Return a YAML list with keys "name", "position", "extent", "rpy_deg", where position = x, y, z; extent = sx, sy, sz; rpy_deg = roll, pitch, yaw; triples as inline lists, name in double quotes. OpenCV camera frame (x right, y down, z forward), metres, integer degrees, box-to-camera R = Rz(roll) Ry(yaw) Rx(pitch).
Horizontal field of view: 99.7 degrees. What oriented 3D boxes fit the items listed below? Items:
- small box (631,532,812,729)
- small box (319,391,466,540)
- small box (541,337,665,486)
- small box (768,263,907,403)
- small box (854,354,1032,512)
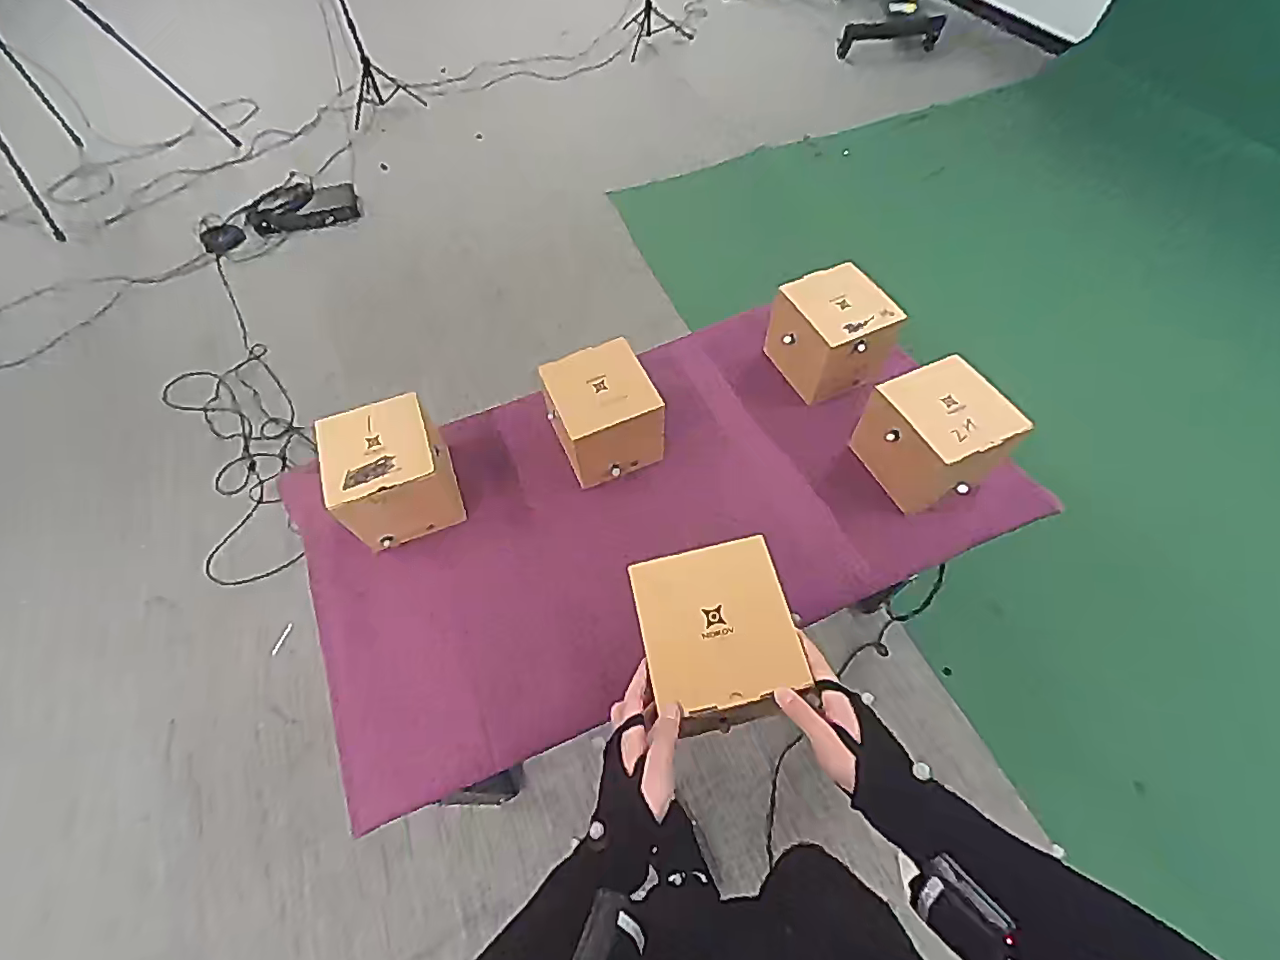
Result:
- name: "small box"
  position: [0.089, 0.190, 0.666]
  extent: [0.168, 0.176, 0.179]
  rpy_deg: [-13, 60, -1]
- name: "small box"
  position: [-0.413, -0.015, 0.921]
  extent: [0.168, 0.176, 0.179]
  rpy_deg: [-20, 61, -10]
- name: "small box"
  position: [-0.064, -0.119, 0.976]
  extent: [0.168, 0.176, 0.179]
  rpy_deg: [-22, 61, -10]
- name: "small box"
  position: [0.371, -0.284, 1.056]
  extent: [0.168, 0.176, 0.179]
  rpy_deg: [-23, 60, -10]
- name: "small box"
  position: [0.497, -0.076, 0.922]
  extent: [0.168, 0.176, 0.179]
  rpy_deg: [-22, 60, -9]
